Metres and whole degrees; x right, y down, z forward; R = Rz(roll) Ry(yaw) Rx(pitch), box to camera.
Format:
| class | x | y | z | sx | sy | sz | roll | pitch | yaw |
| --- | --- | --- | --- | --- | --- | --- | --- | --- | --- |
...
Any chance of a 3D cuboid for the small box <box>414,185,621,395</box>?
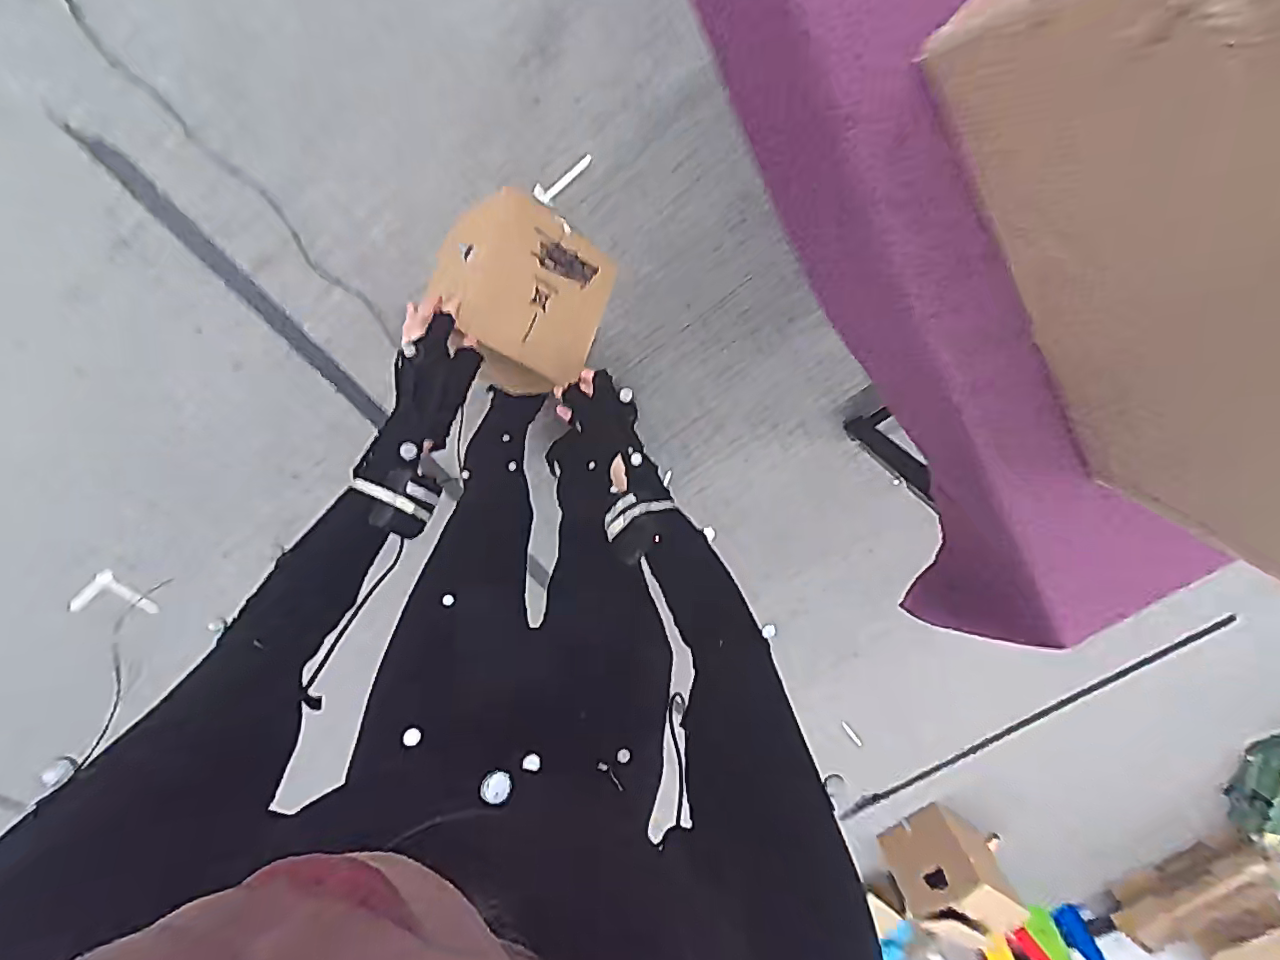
| class | x | y | z | sx | sy | sz | roll | pitch | yaw |
| --- | --- | --- | --- | --- | --- | --- | --- | --- | --- |
| small box | -0.157 | -0.220 | 0.678 | 0.168 | 0.176 | 0.179 | 26 | 81 | -39 |
